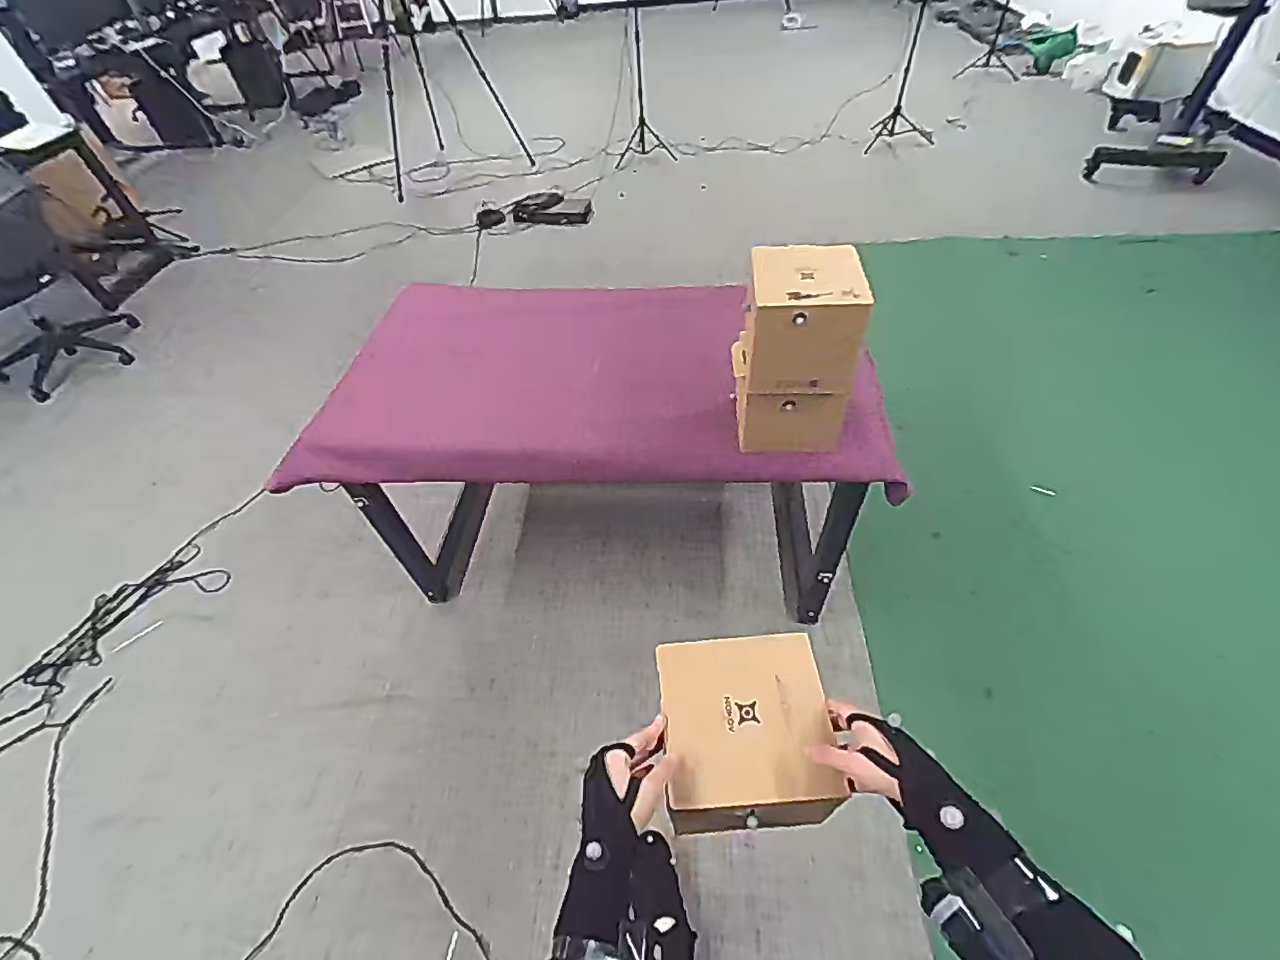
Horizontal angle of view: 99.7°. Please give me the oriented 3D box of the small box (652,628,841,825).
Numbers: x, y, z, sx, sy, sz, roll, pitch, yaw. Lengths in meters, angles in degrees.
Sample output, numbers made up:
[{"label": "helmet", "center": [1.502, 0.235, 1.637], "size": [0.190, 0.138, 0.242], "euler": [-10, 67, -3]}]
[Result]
[{"label": "small box", "center": [0.110, 0.289, 0.626], "size": [0.179, 0.176, 0.168], "euler": [-5, 50, 2]}]

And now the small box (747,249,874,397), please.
[{"label": "small box", "center": [0.265, -0.257, 0.887], "size": [0.168, 0.176, 0.179], "euler": [1, 49, 7]}]

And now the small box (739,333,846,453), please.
[{"label": "small box", "center": [0.281, -0.164, 1.023], "size": [0.179, 0.176, 0.168], "euler": [0, 50, 5]}]
